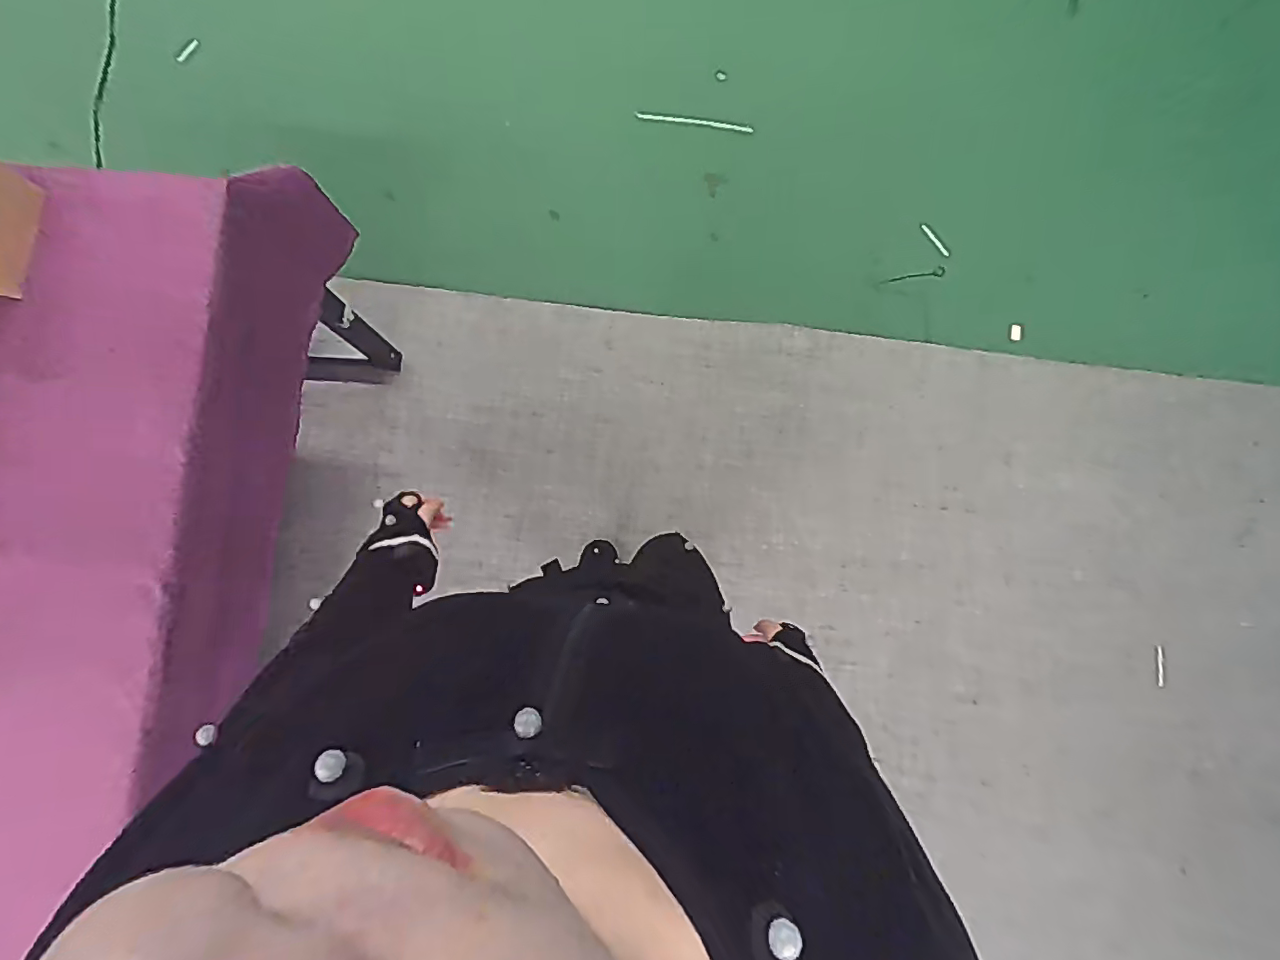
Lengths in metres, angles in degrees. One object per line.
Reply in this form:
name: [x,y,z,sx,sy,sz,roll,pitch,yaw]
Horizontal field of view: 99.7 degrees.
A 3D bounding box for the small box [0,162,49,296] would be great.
small box: [-0.993,-0.380,0.746,0.168,0.176,0.179,6,83,-1]
